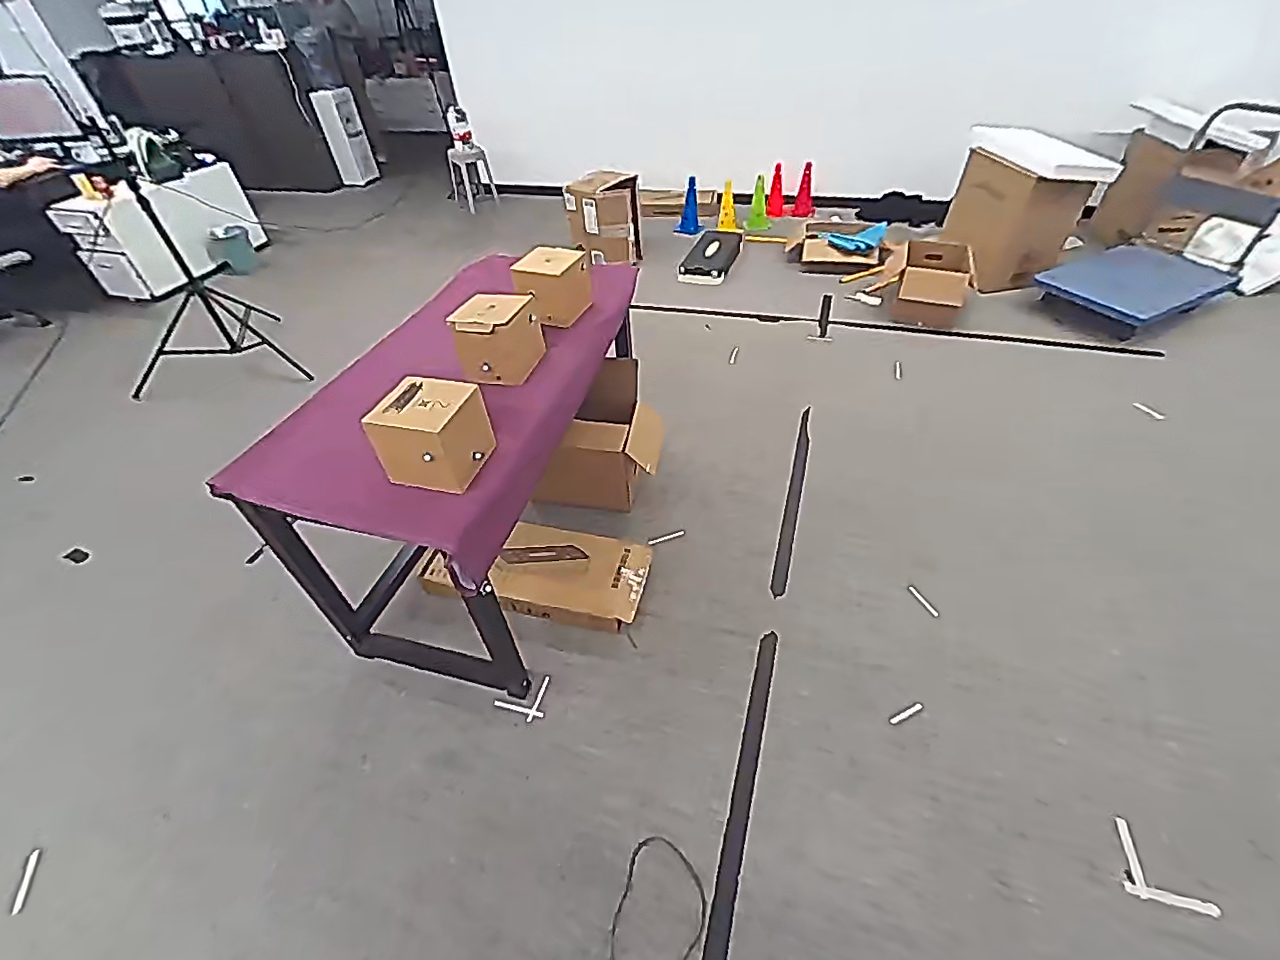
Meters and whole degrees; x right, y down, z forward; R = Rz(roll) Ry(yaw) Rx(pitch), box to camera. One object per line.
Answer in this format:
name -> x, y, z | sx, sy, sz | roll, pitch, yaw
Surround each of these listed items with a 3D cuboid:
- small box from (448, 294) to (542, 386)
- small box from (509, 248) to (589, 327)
small box -> -0.368, -0.368, 1.417 | 0.168, 0.176, 0.179 | 6, 45, 14
small box -> -0.264, -0.579, 1.631 | 0.168, 0.176, 0.179 | 13, 46, 18
